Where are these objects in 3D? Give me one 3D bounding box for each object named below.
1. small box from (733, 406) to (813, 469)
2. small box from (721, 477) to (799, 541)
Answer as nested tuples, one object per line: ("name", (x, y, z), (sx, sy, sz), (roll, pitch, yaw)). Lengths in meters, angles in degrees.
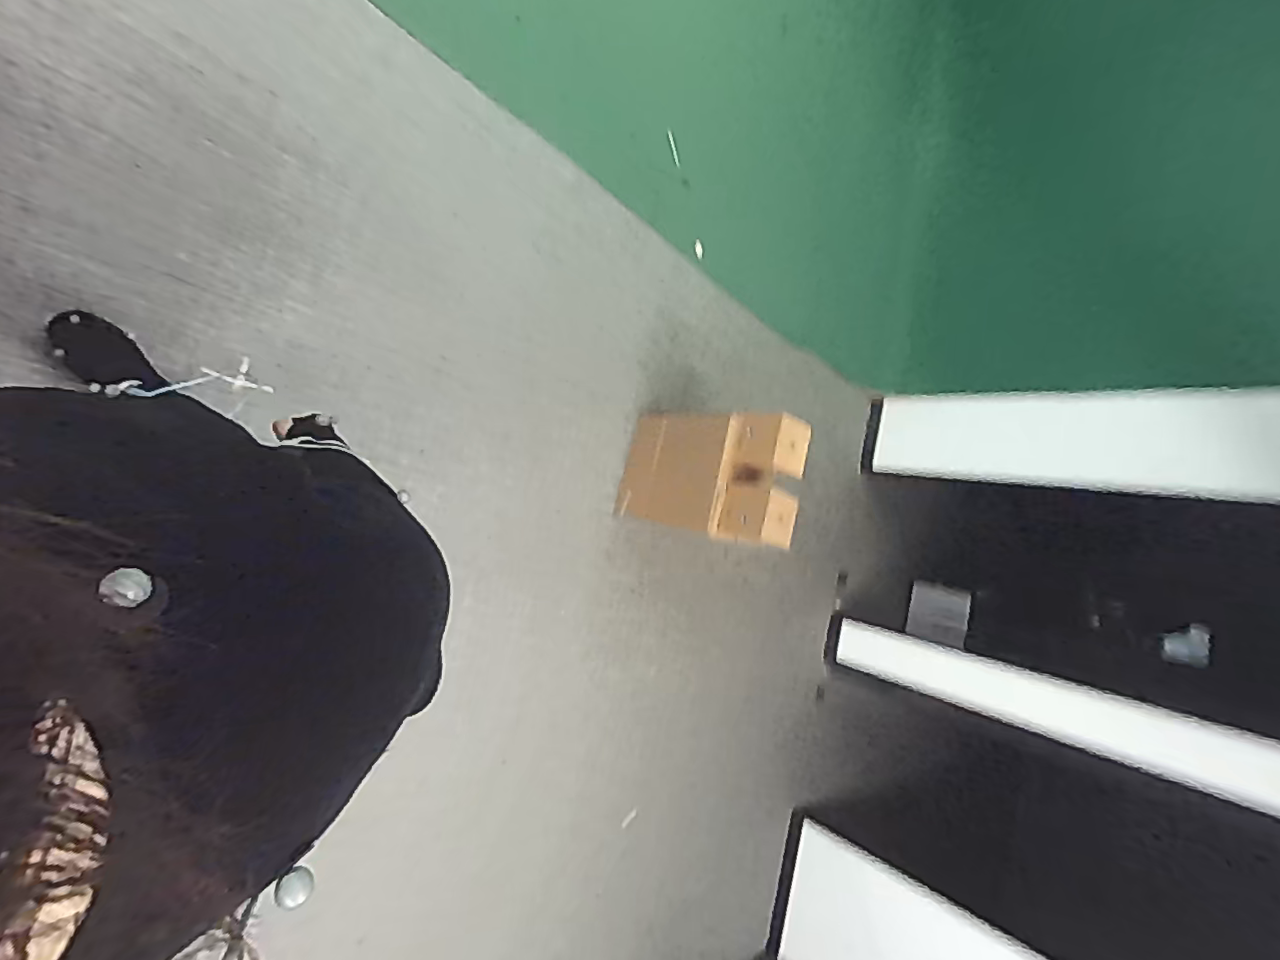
("small box", (0.434, -0.141, 1.770), (0.179, 0.176, 0.168), (16, 87, -42))
("small box", (0.389, 0.091, 1.758), (0.179, 0.176, 0.168), (22, 80, -44))
